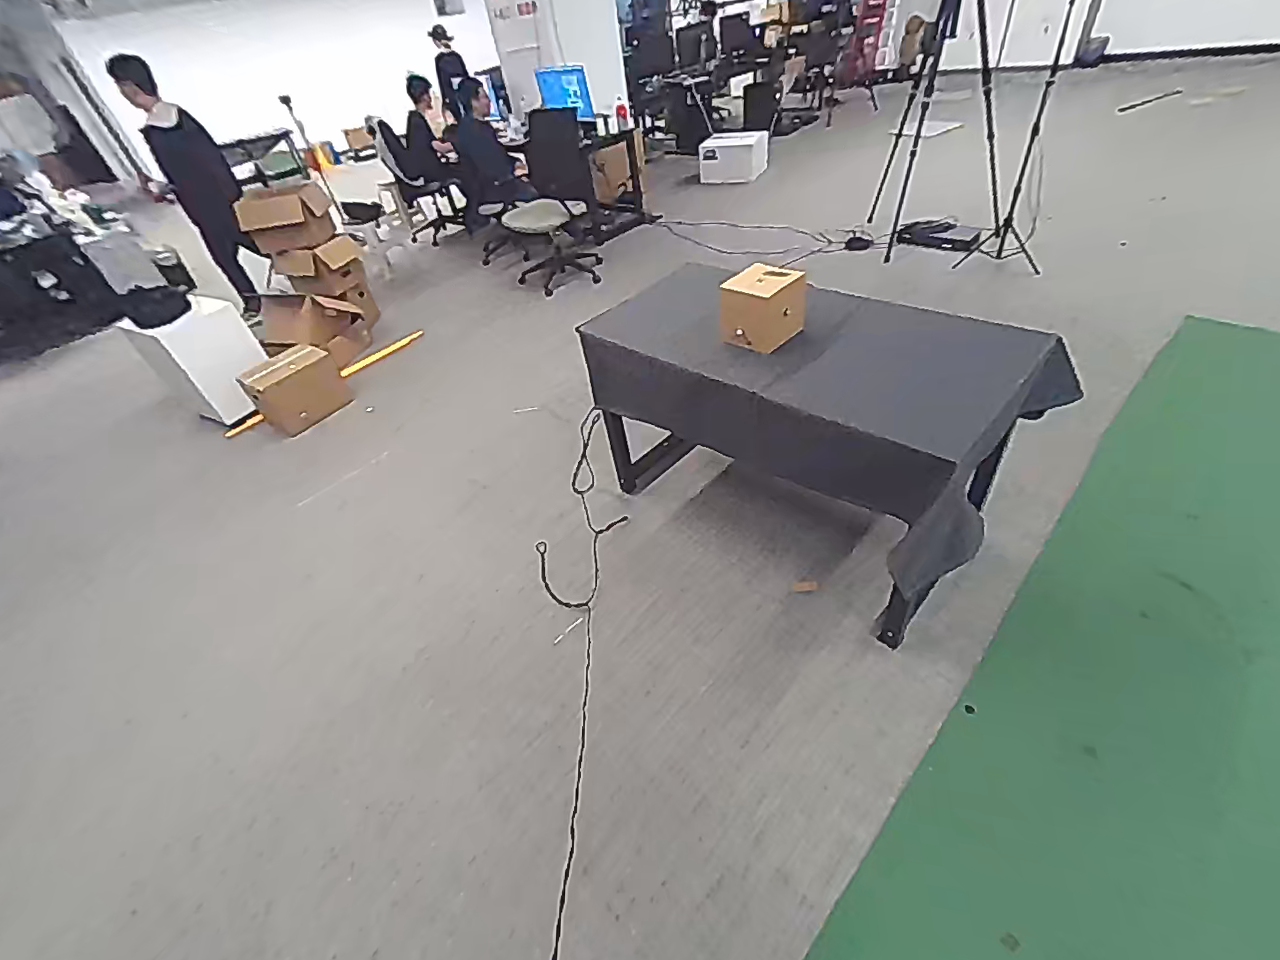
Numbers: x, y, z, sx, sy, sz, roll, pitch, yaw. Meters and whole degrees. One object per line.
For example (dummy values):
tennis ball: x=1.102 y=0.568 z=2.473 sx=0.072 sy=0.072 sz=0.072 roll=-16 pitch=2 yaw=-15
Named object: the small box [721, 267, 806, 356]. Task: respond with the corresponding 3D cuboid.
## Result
small box: x=0.345 y=-0.477 z=1.527 sx=0.179 sy=0.176 sz=0.168 roll=-37 pitch=47 yaw=-27
